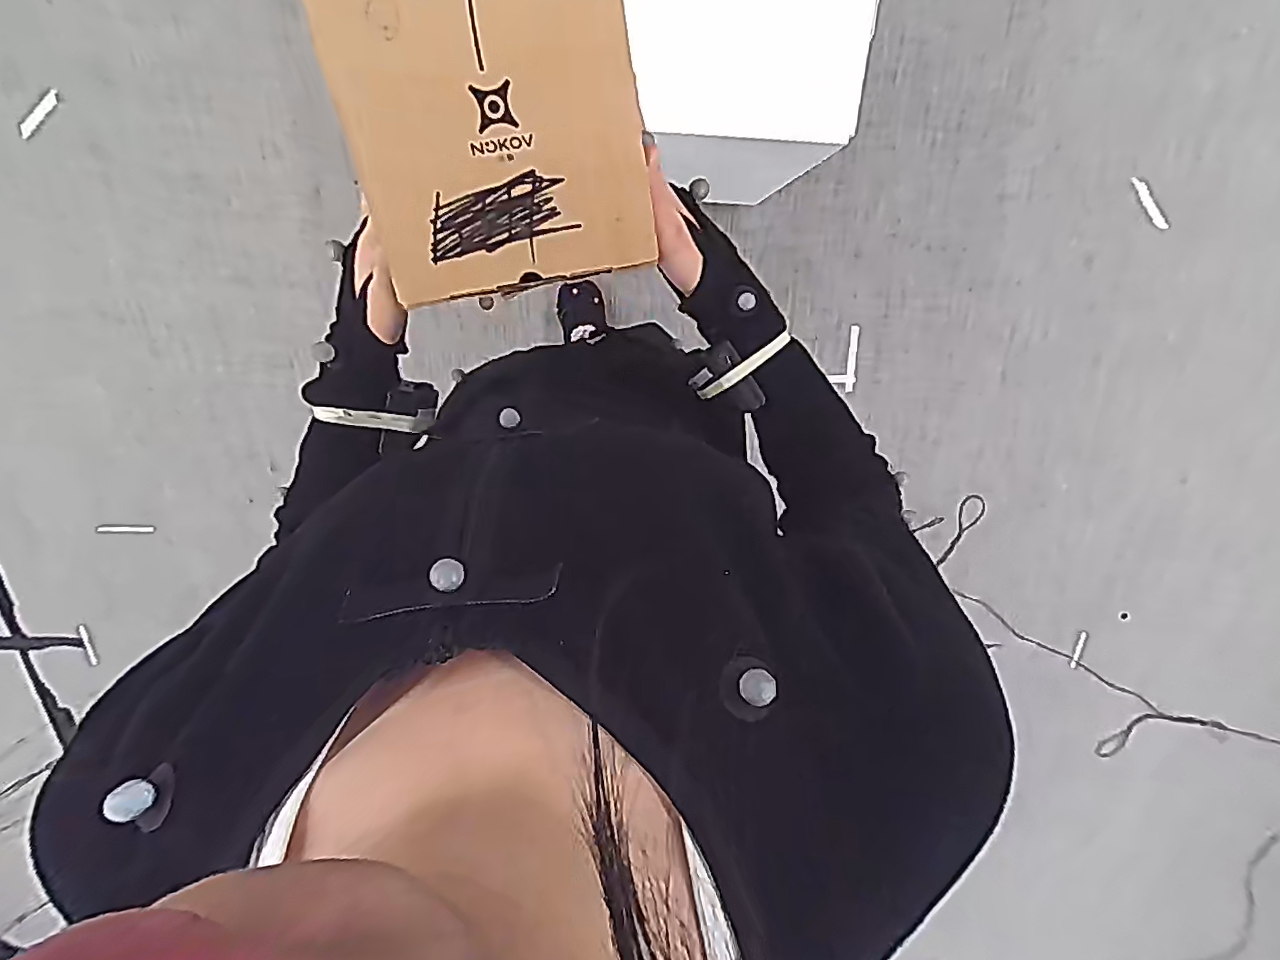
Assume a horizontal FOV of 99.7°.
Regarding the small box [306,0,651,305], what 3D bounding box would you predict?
[{"bbox_3d":[-0.092,-0.230,0.380,0.168,0.176,0.179,-11,111,-4],"label":"small box"}]
